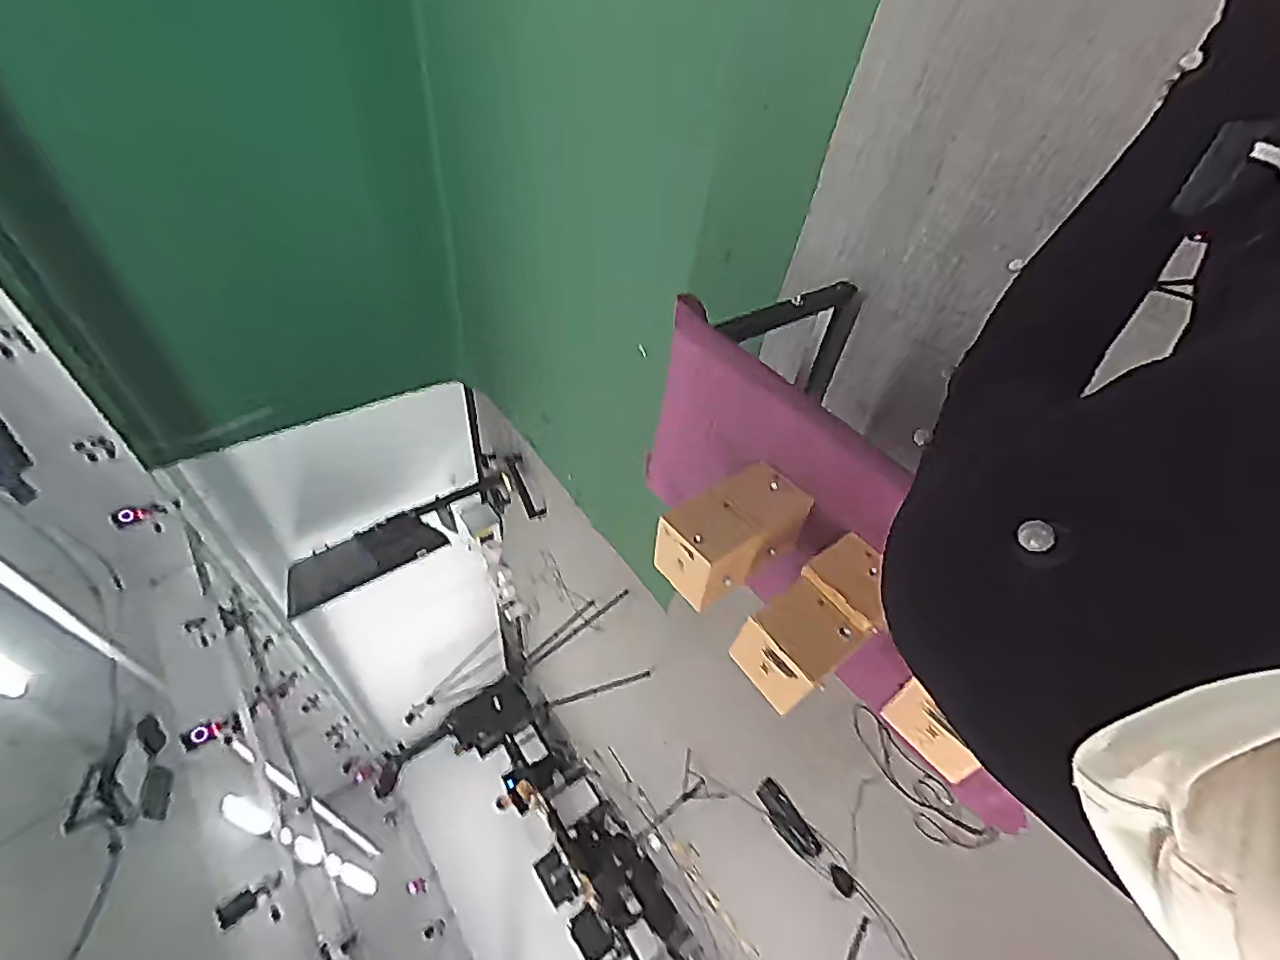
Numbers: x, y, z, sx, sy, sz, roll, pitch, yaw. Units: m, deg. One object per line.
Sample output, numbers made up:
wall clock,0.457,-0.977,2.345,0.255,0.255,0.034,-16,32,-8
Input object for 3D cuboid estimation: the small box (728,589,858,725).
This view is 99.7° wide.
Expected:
small box,0.312,0.355,1.103,0.168,0.176,0.179,47,146,28

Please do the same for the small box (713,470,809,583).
small box,0.277,0.107,1.299,0.168,0.176,0.179,43,144,32

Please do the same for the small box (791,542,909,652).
small box,0.441,0.268,1.166,0.168,0.176,0.179,44,144,32

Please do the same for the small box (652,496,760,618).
small box,0.148,0.169,1.219,0.168,0.176,0.179,42,144,33
